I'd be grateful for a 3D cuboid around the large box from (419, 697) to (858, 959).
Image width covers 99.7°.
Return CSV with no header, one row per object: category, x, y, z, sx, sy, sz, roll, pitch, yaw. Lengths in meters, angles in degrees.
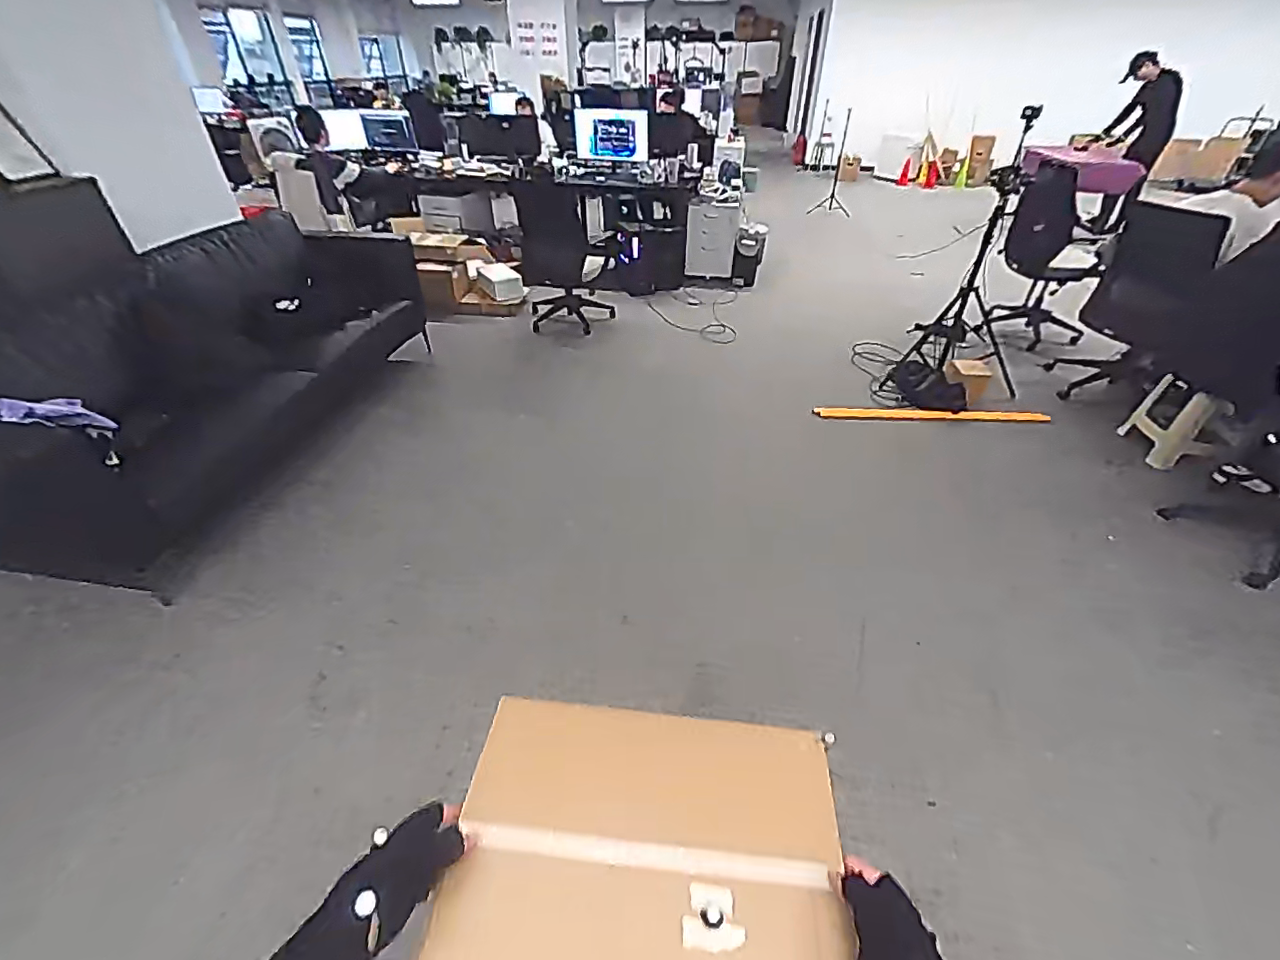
large box,0.003,0.503,0.646,0.408,0.320,0.320,5,36,4
